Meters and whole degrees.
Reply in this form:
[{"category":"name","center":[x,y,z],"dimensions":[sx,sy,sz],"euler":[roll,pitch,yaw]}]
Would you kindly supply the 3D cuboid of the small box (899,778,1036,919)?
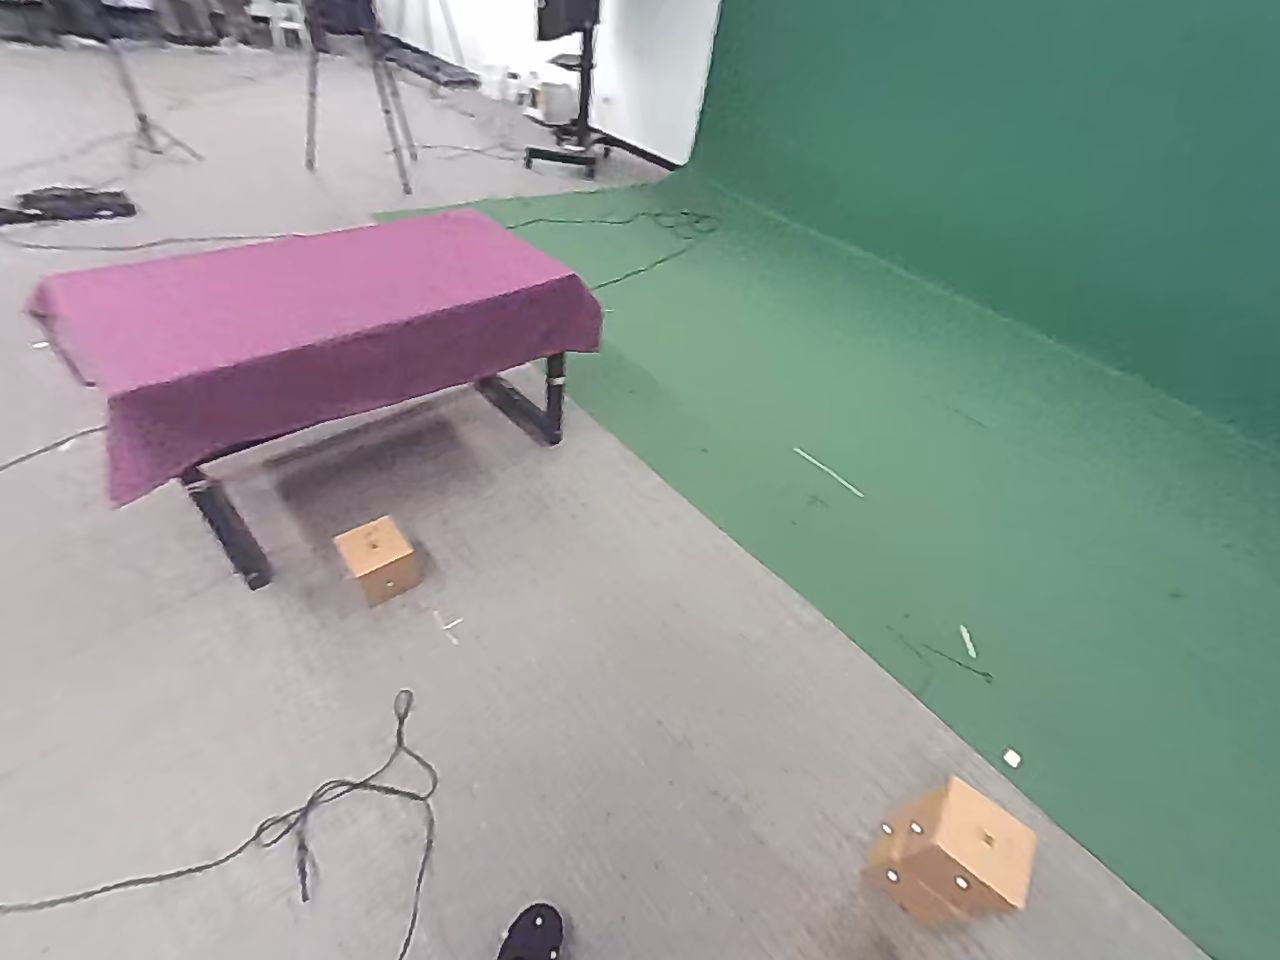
[{"category":"small box","center":[0.688,0.786,1.149],"dimensions":[0.179,0.176,0.168],"euler":[34,49,22]}]
